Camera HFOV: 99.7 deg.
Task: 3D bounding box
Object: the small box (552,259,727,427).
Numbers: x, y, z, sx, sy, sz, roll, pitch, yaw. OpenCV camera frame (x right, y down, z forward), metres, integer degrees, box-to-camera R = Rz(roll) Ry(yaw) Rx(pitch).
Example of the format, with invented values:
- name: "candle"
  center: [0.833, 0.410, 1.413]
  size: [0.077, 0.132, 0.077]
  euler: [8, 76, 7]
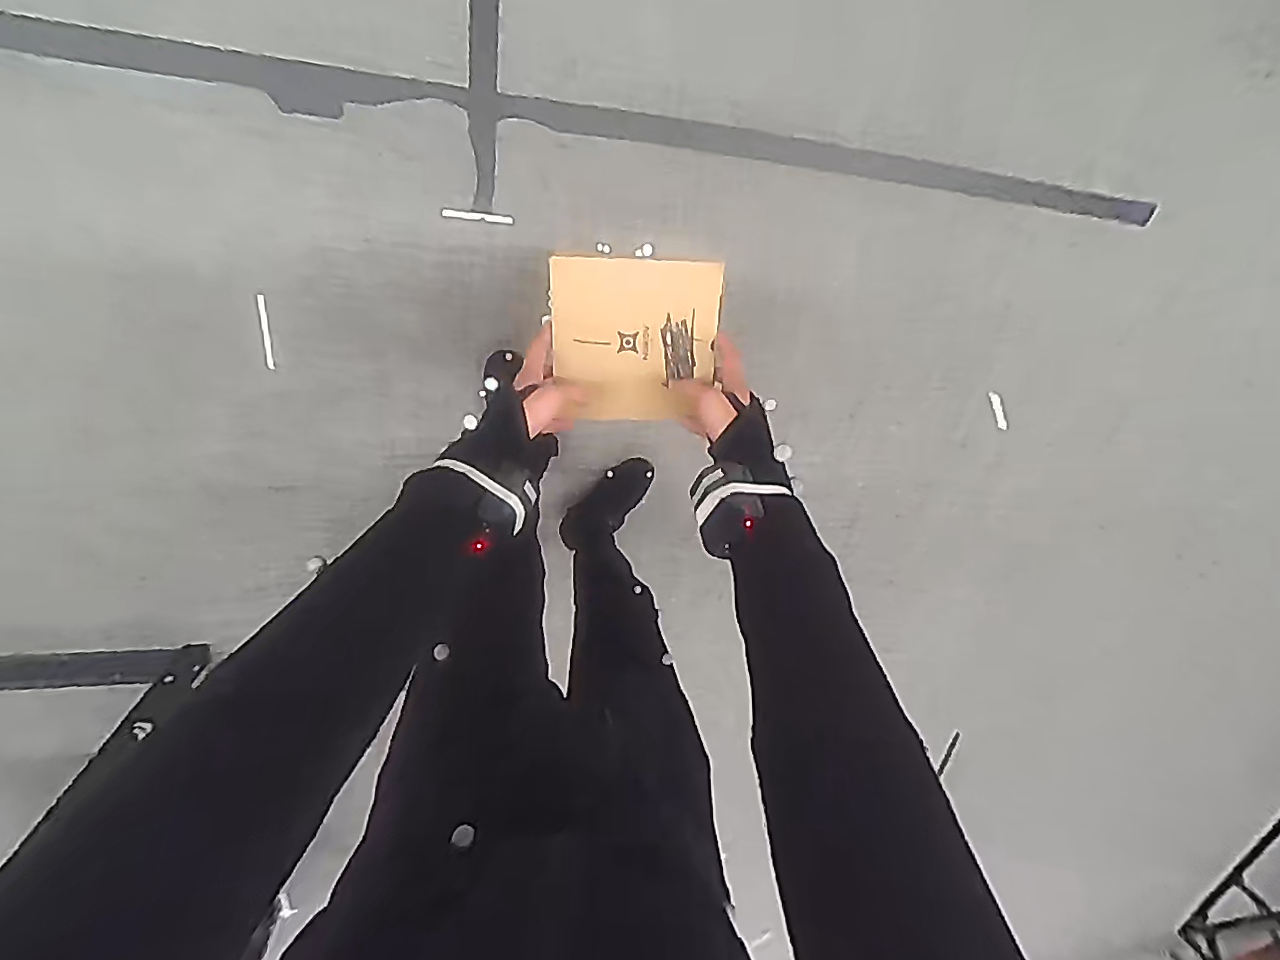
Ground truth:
- name: "small box"
  center: [-0.009, -0.166, 0.632]
  size: [0.179, 0.176, 0.168]
  euler: [0, 113, -4]
